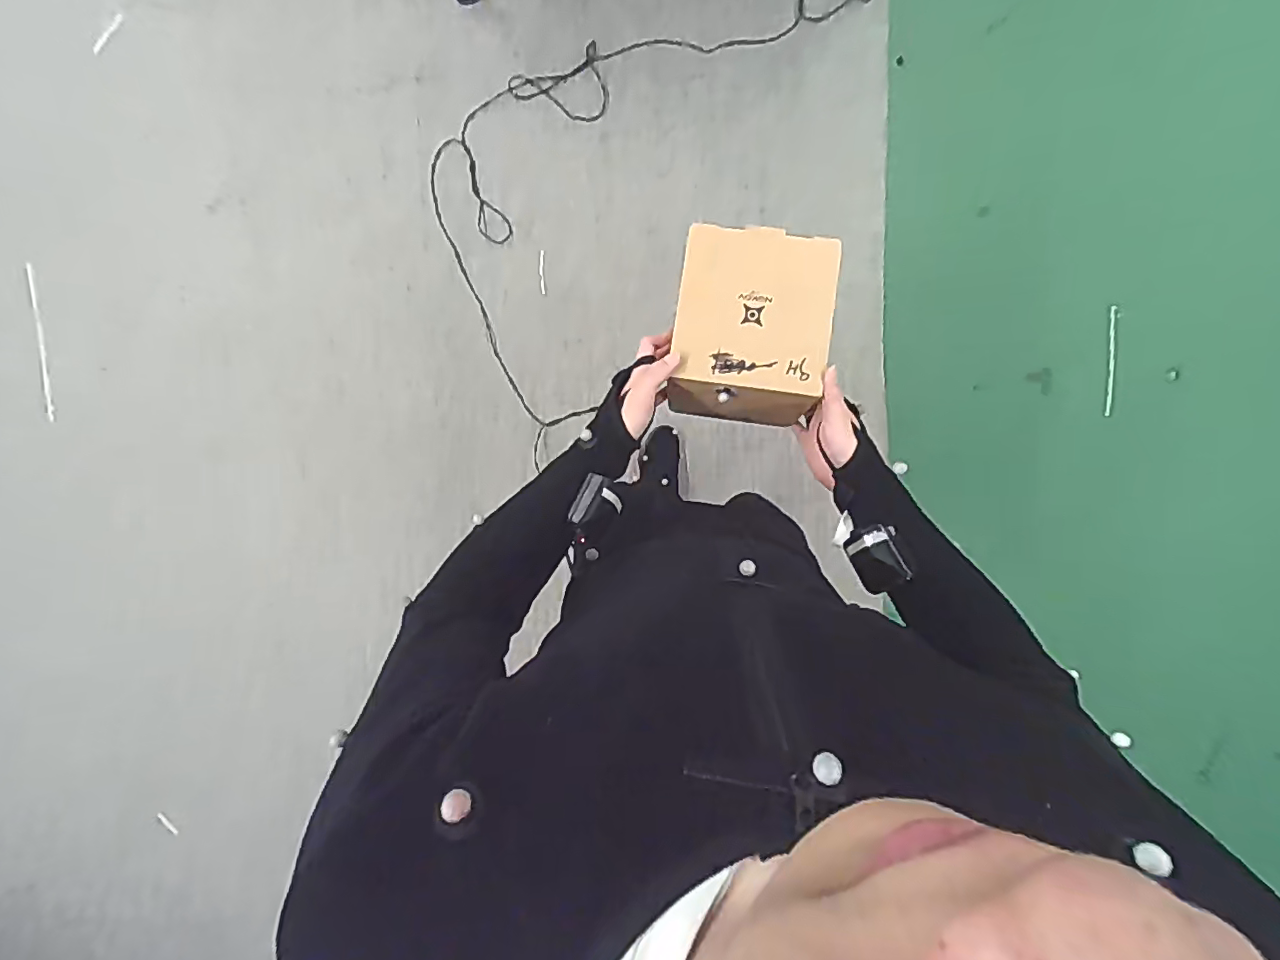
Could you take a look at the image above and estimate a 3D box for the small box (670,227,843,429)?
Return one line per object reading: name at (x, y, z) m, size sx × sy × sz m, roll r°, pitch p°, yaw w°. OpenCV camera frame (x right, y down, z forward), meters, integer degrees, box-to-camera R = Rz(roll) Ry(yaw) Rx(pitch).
small box at (0.129, -0.172, 0.657) m, size 0.168 × 0.176 × 0.179 m, roll 9°, pitch 86°, yaw 4°
